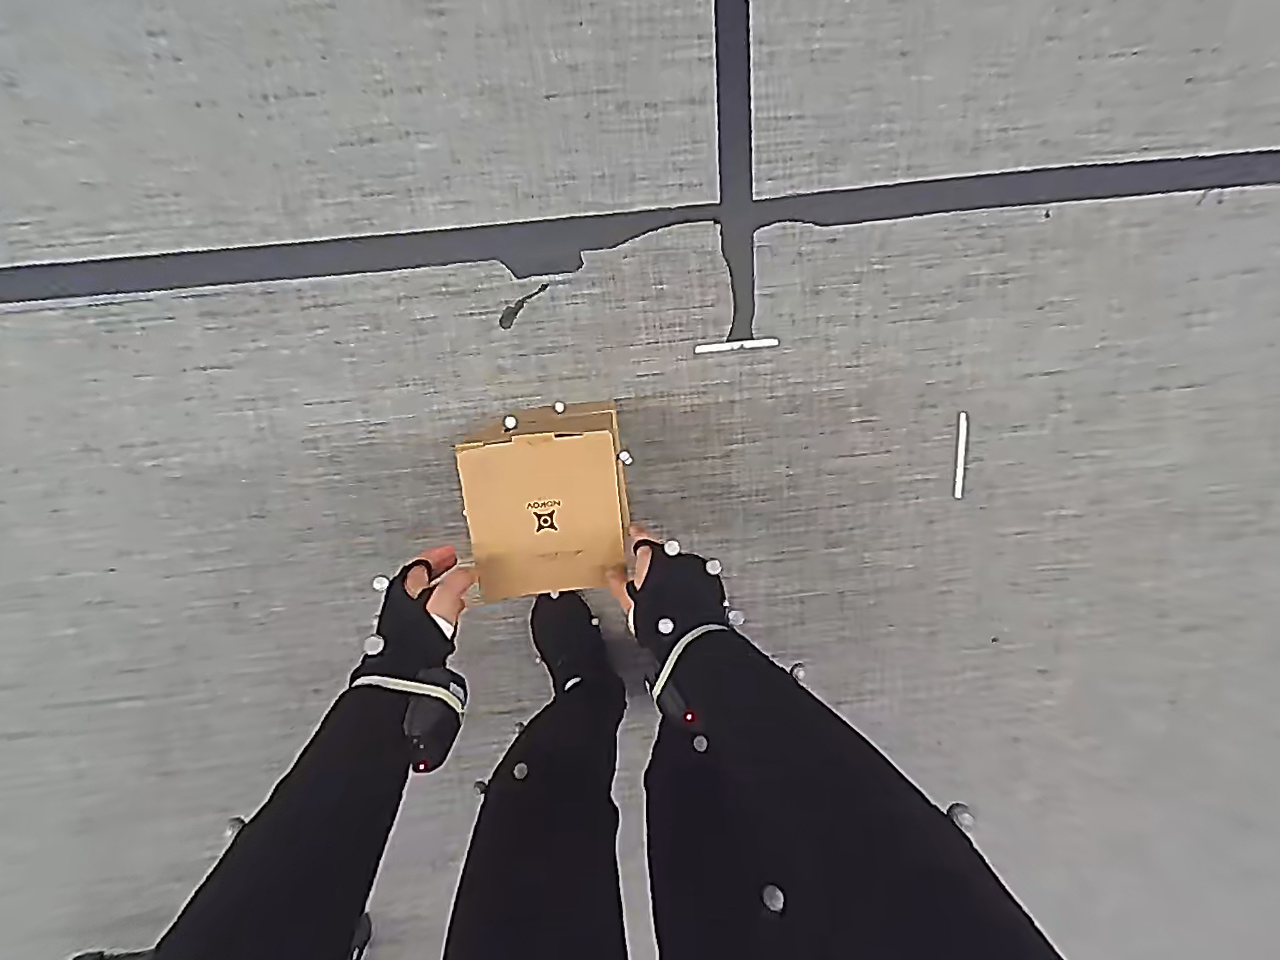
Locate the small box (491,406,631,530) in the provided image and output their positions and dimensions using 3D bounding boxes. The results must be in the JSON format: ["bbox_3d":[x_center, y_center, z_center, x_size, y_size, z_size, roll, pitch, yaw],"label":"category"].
[{"bbox_3d":[-0.112,-0.016,0.821,0.179,0.176,0.168,-7,103,-1],"label":"small box"}]

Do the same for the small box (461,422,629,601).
[{"bbox_3d":[-0.104,0.026,0.664,0.168,0.176,0.179,-6,105,-1],"label":"small box"}]
